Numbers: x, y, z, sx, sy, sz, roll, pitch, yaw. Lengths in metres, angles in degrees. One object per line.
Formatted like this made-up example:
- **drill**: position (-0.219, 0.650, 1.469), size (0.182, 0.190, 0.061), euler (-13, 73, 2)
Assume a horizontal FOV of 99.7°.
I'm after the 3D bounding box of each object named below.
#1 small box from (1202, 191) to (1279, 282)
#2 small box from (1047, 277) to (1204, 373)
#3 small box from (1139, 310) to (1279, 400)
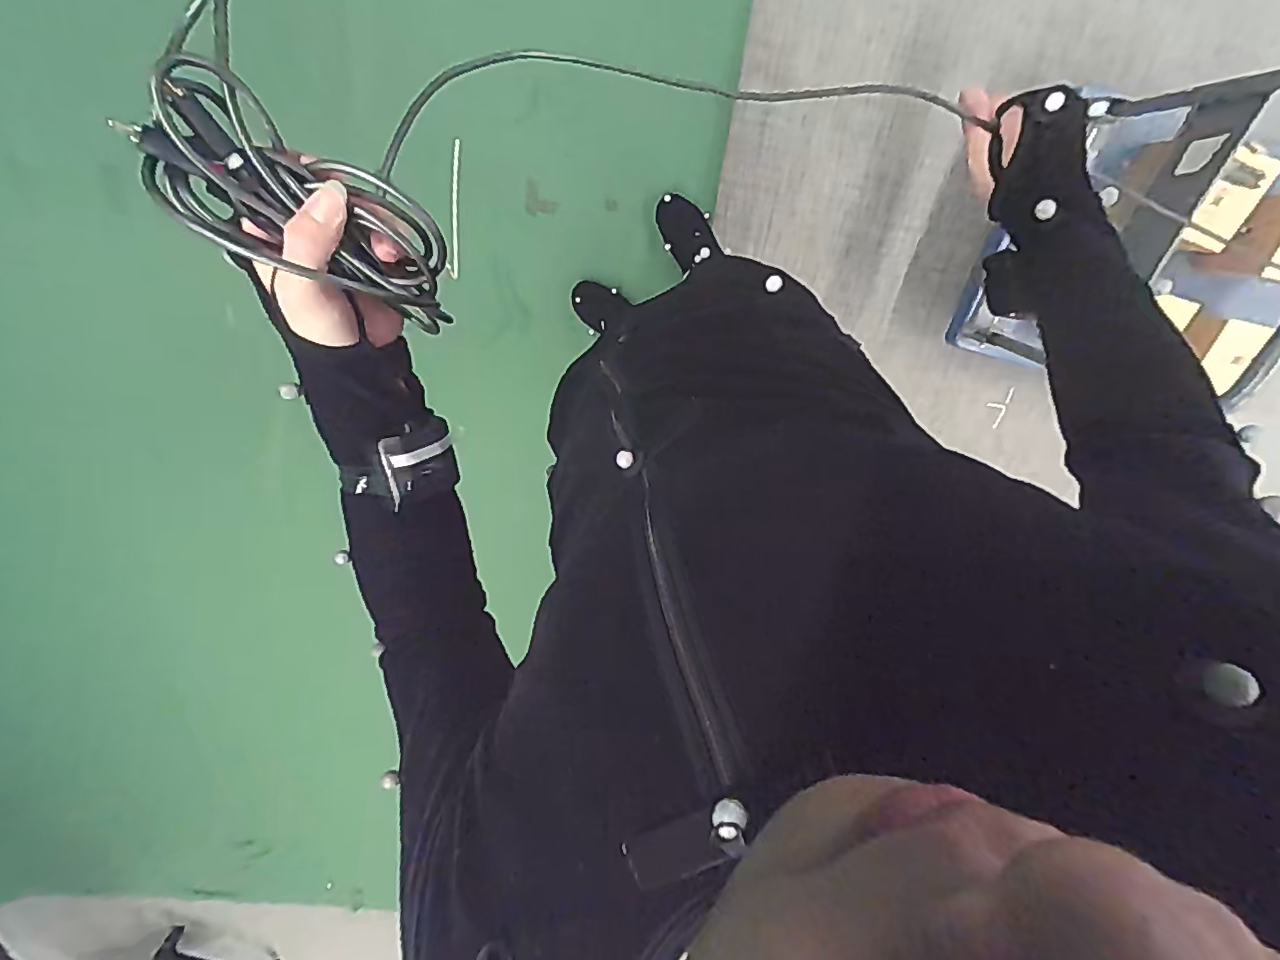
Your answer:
- **small box**: position (1.437, -0.536, 1.199), size (0.179, 0.176, 0.168), euler (8, 117, -6)
- **small box**: position (1.132, -0.371, 1.277), size (0.179, 0.176, 0.168), euler (12, 116, -7)
- **small box**: position (1.388, -0.311, 1.312), size (0.179, 0.176, 0.168), euler (10, 115, -6)
